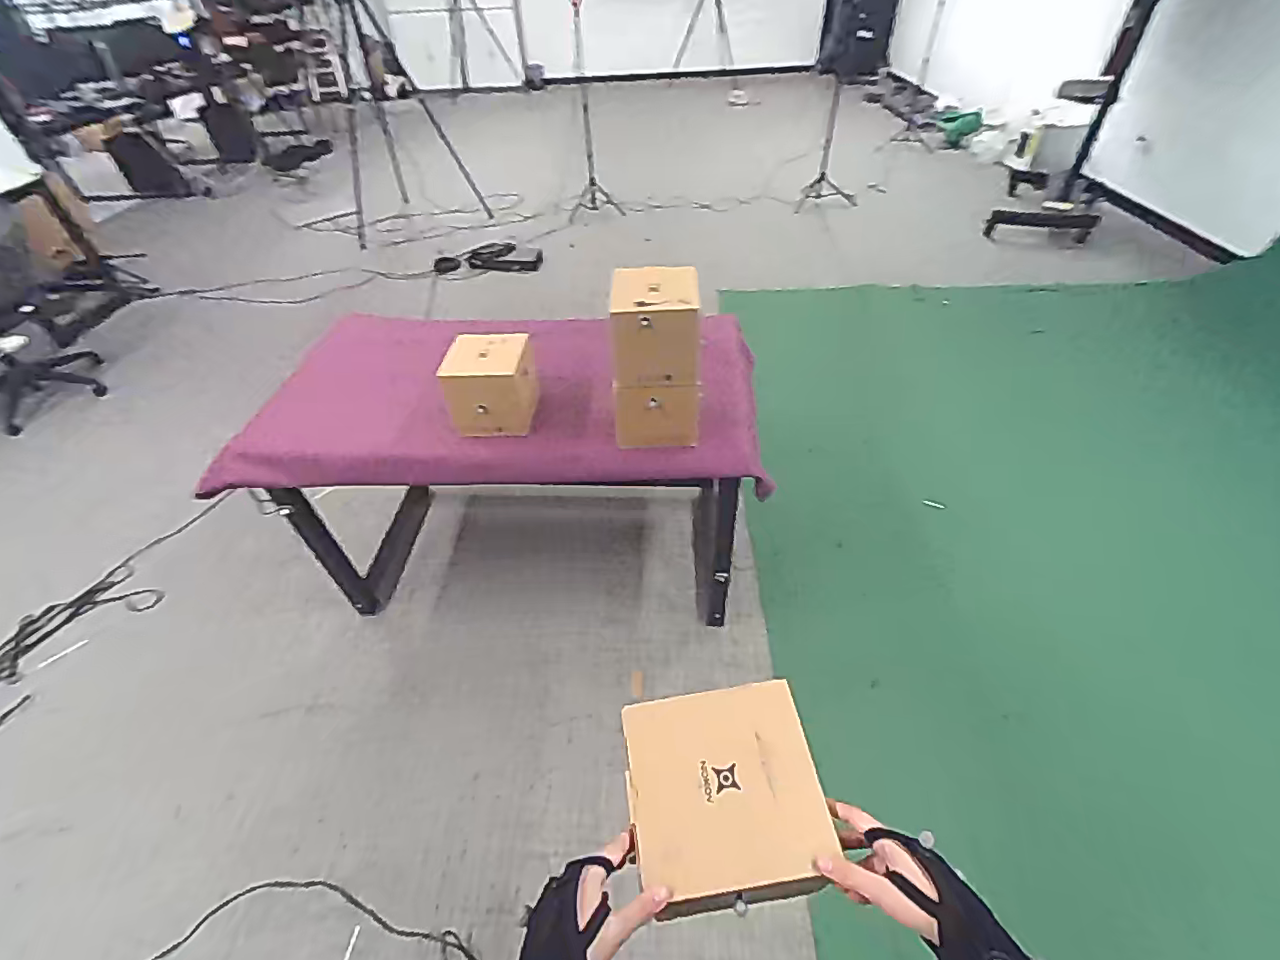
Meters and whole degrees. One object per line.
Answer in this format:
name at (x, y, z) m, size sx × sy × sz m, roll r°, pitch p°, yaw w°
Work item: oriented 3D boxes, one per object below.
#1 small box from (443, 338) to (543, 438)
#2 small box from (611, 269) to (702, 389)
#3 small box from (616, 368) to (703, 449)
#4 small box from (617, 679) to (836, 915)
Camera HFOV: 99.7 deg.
small box at (-0.328, -0.209, 1.252) m, size 0.168 × 0.176 × 0.179 m, roll -1°, pitch 44°, yaw 4°
small box at (0.037, -0.300, 1.079) m, size 0.168 × 0.176 × 0.179 m, roll -3°, pitch 45°, yaw 5°
small box at (0.046, -0.182, 1.194) m, size 0.179 × 0.176 × 0.168 m, roll -3°, pitch 46°, yaw 4°
small box at (0.081, 0.332, 0.563) m, size 0.179 × 0.176 × 0.168 m, roll -10°, pitch 48°, yaw 0°
